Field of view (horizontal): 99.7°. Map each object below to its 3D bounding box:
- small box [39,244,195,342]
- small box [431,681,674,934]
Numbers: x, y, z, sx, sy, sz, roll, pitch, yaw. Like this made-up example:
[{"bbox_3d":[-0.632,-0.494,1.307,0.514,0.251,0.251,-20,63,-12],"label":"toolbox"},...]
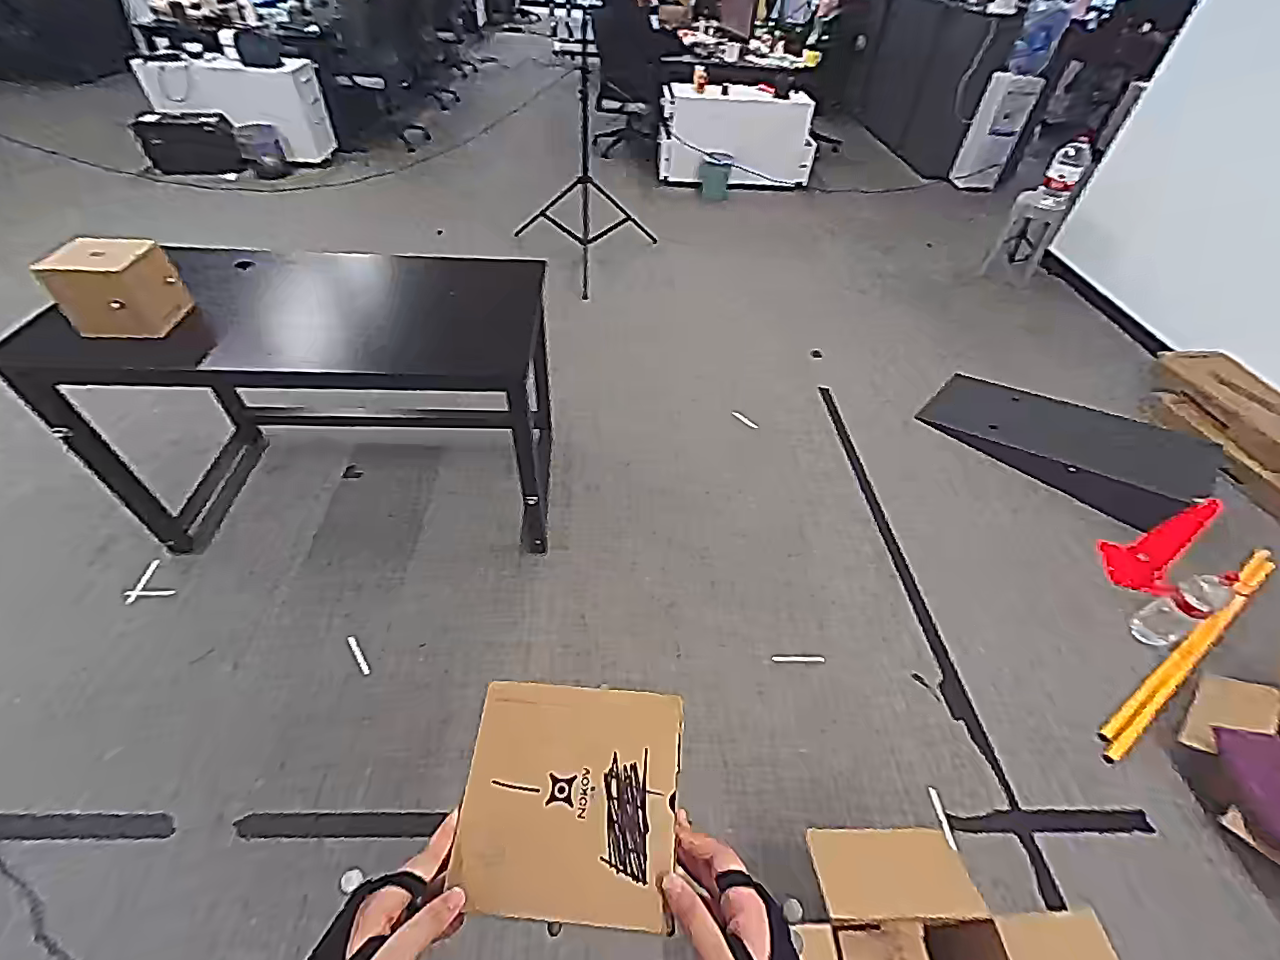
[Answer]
[{"bbox_3d":[-1.219,-0.440,1.282,0.179,0.176,0.168,-2,46,-5],"label":"small box"},{"bbox_3d":[-0.062,0.298,0.506,0.179,0.176,0.168,3,56,4],"label":"small box"}]
